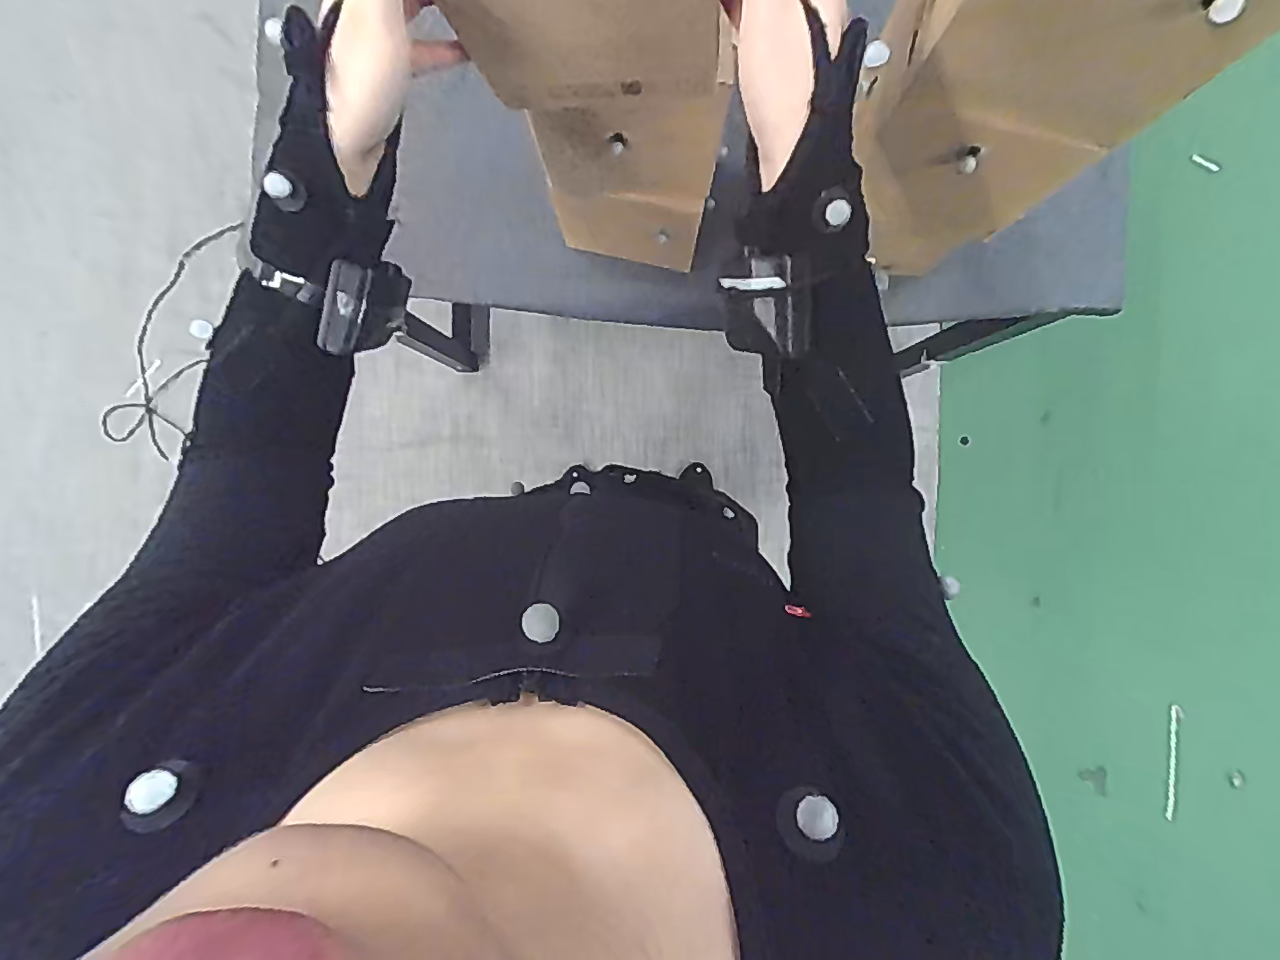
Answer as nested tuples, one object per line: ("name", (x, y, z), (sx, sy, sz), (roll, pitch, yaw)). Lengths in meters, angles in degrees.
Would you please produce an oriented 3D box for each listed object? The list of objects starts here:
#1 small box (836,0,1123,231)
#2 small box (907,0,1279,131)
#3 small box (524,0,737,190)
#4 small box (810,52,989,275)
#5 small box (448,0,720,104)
("small box", (0.308, -0.357, 0.500), (0.179, 0.176, 0.168), (14, 91, 3))
("small box", (0.305, -0.358, 0.335), (0.179, 0.176, 0.168), (16, 91, 2))
("small box", (-0.008, -0.396, 0.506), (0.179, 0.176, 0.168), (3, 90, 2))
("small box", (0.314, -0.372, 0.662), (0.168, 0.176, 0.179), (3, 91, 3))
("small box", (-0.034, -0.356, 0.309), (0.168, 0.176, 0.179), (3, 97, 7))
